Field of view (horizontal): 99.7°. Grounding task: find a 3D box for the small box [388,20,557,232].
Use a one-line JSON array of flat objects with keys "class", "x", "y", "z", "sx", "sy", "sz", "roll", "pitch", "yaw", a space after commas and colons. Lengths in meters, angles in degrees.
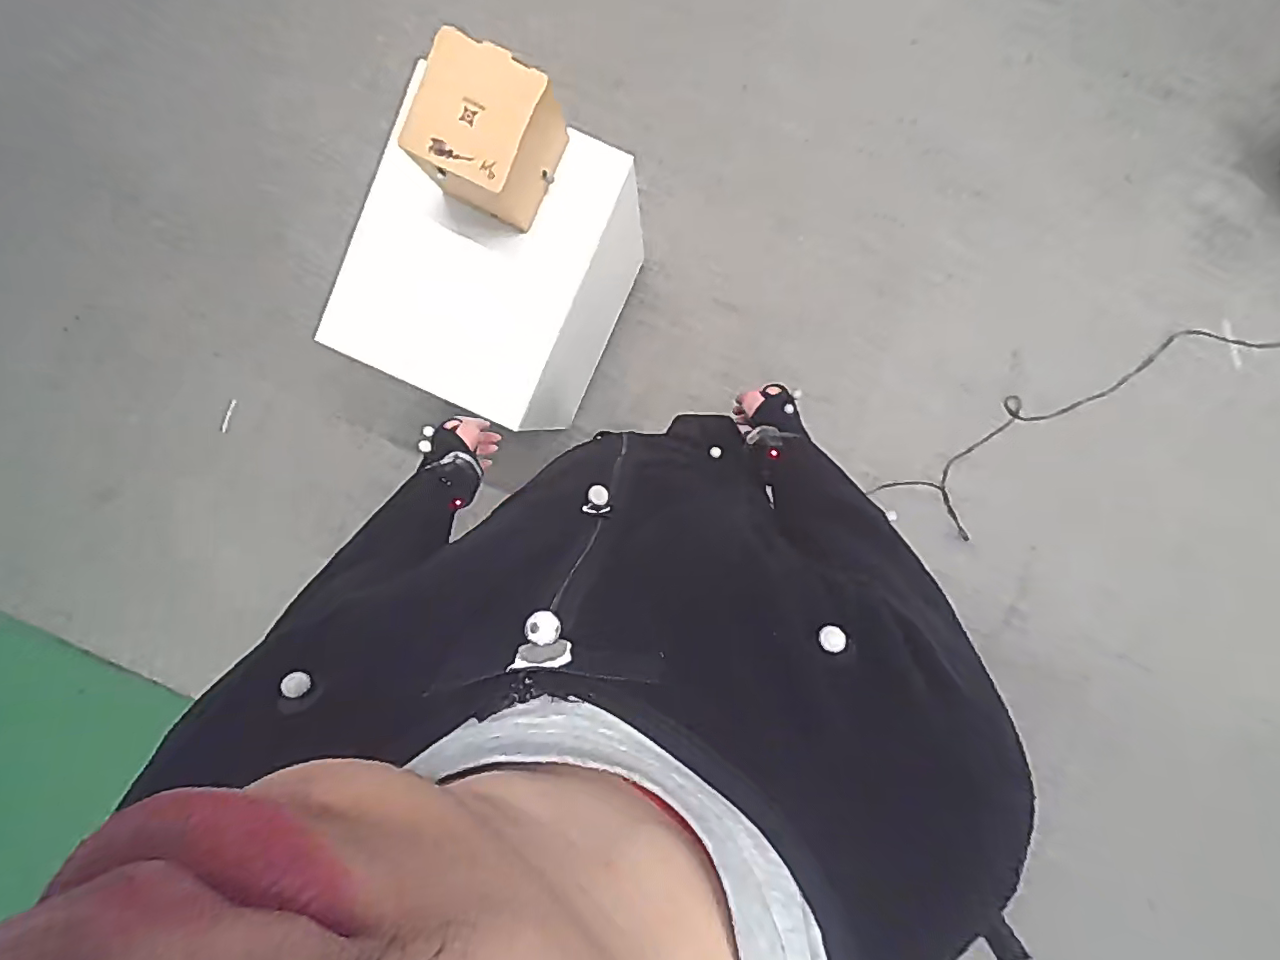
[{"class": "small box", "x": -0.235, "y": -0.511, "z": 0.809, "sx": 0.168, "sy": 0.176, "sz": 0.179, "roll": 25, "pitch": 95, "yaw": -2}]
